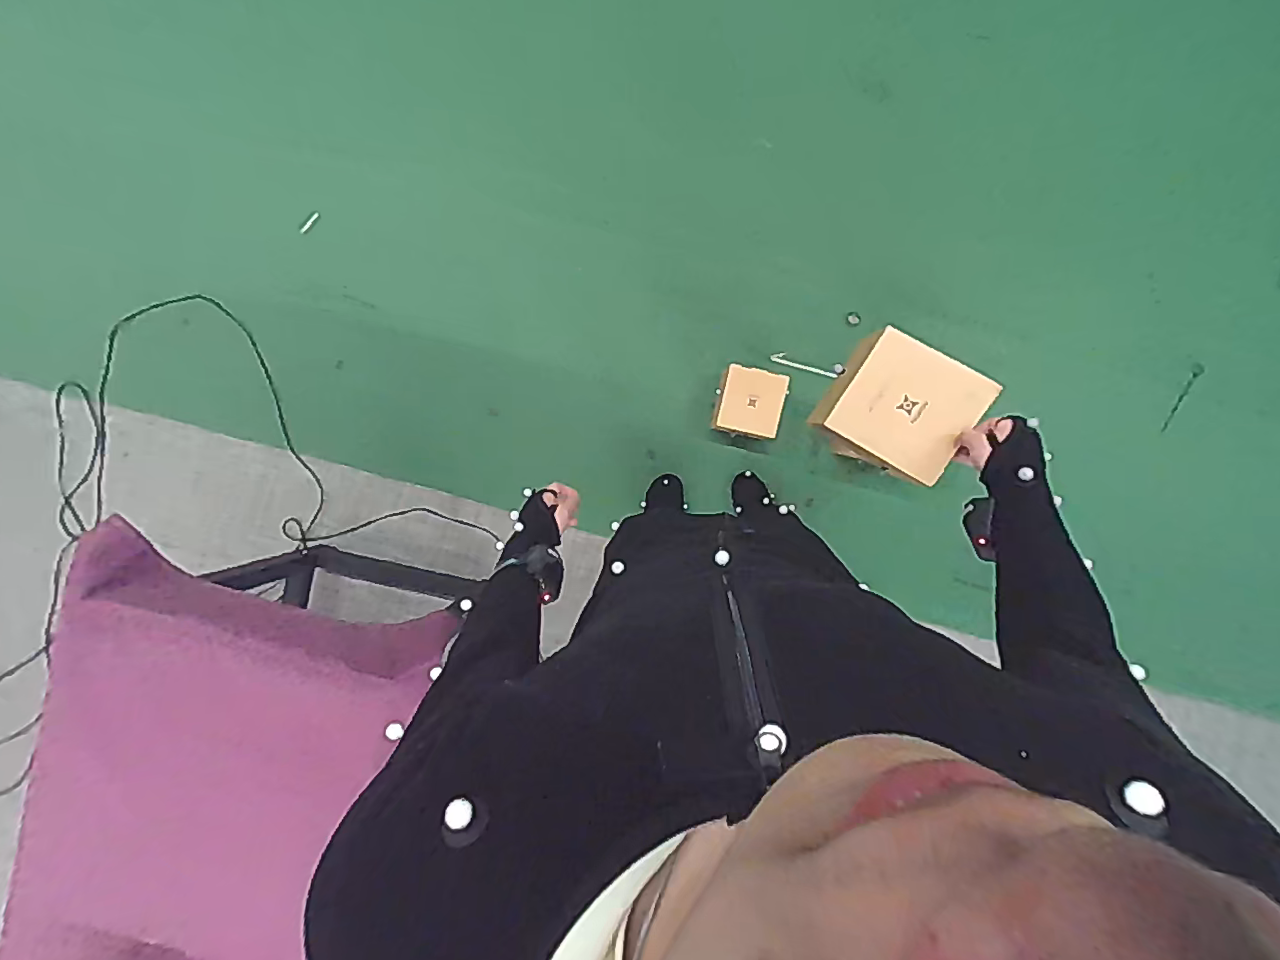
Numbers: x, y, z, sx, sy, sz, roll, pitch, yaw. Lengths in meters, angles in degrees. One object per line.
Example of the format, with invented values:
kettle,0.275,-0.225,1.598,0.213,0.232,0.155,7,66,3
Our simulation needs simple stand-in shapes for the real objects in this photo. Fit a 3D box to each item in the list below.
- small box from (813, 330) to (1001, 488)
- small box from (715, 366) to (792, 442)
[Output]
small box,0.397,-0.110,0.841,0.179,0.176,0.168,32,100,4
small box,0.315,-0.208,1.538,0.168,0.176,0.179,13,92,1
